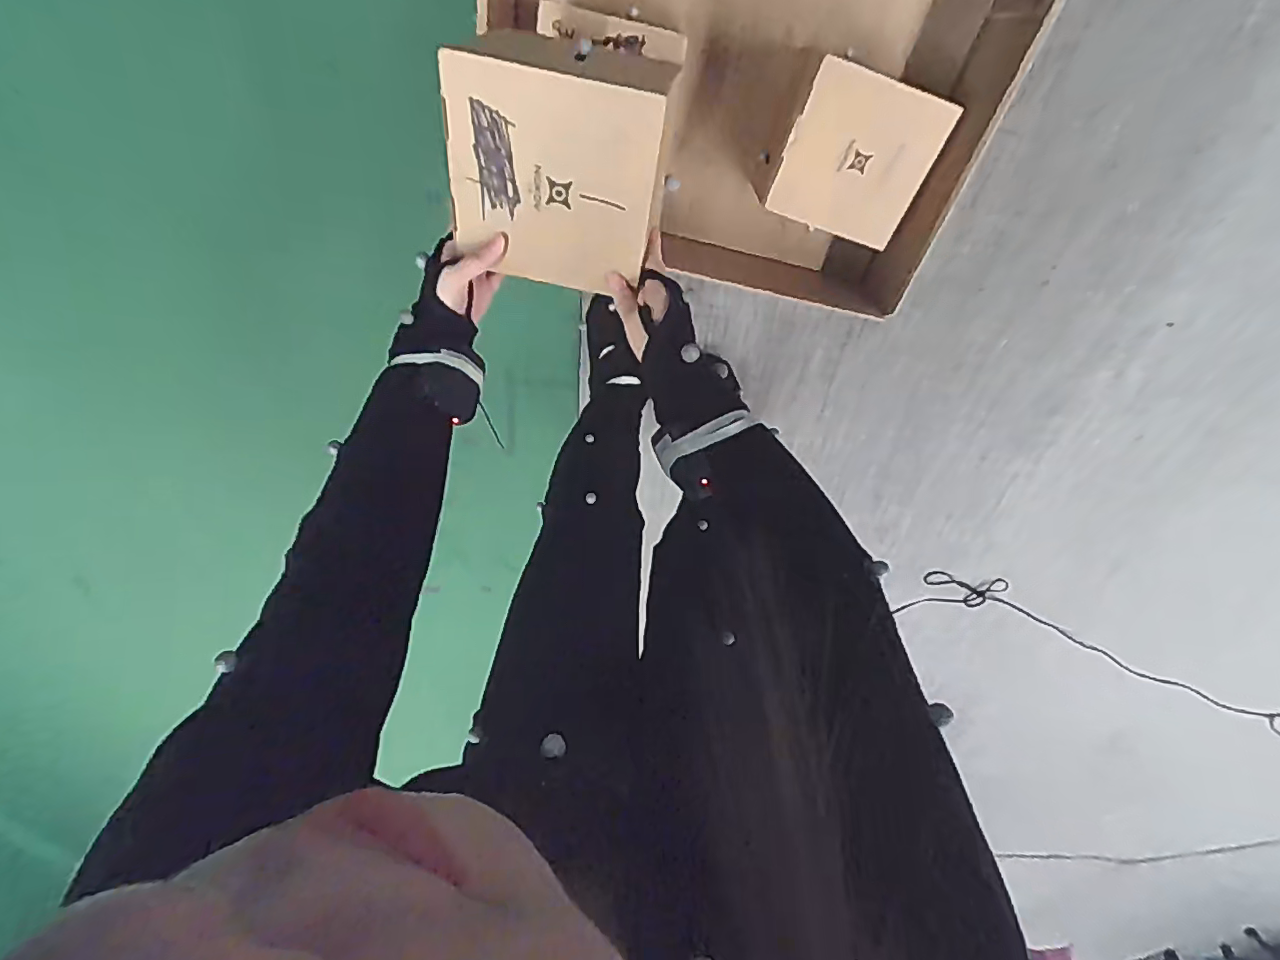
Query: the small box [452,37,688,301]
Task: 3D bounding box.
[{"bbox_3d":[-0.059,-0.300,0.516,0.179,0.176,0.168,11,135,-1],"label":"small box"}]
